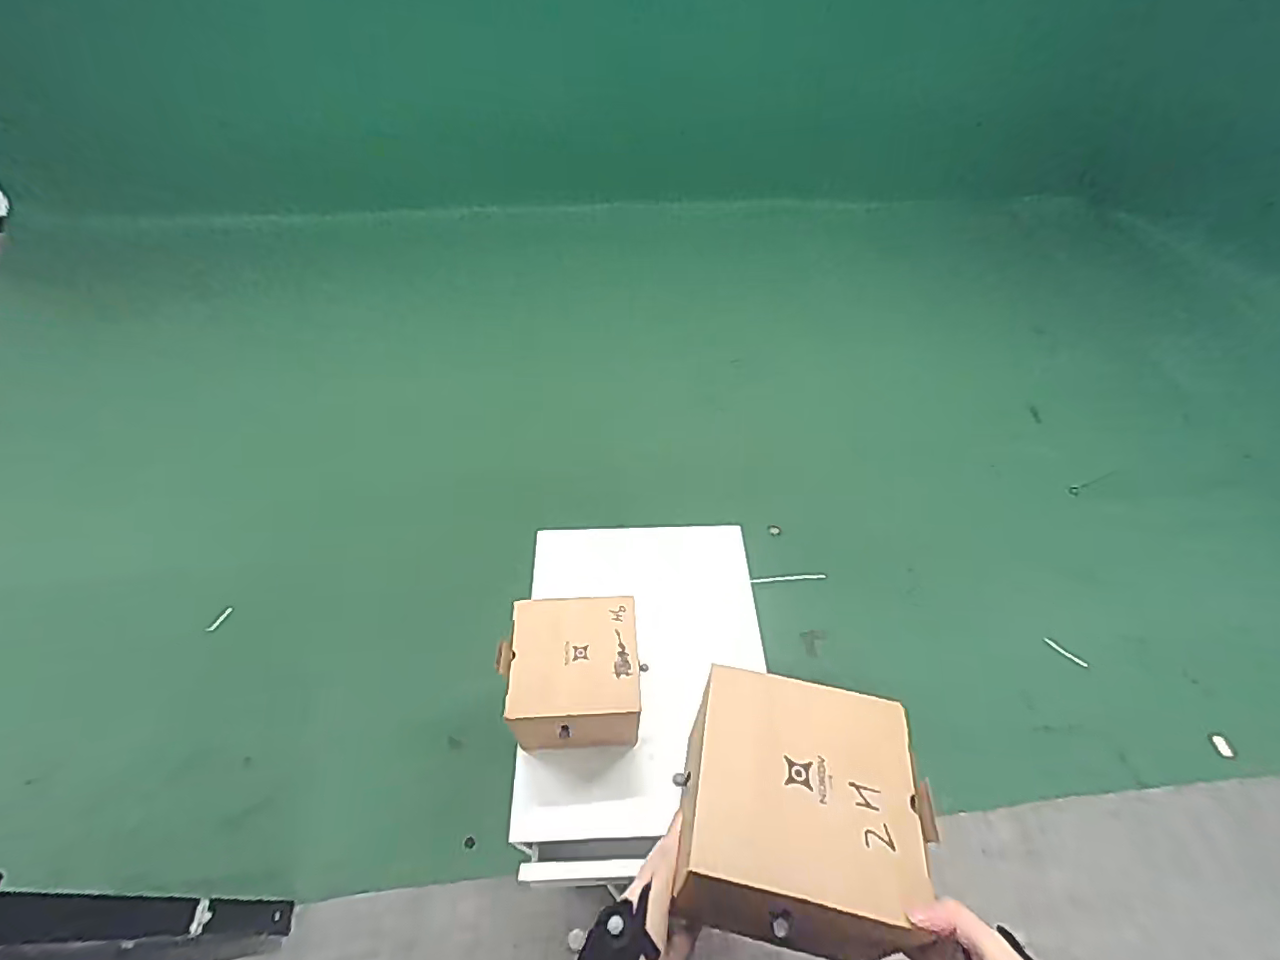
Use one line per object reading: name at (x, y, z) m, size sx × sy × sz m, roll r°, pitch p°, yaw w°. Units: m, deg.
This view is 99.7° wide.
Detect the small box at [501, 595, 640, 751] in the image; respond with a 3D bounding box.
small box at (-0.090, 0.282, 0.782) m, size 0.179 × 0.176 × 0.168 m, roll -2°, pitch 51°, yaw -3°

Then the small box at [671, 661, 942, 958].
small box at (0.128, 0.290, 0.478) m, size 0.179 × 0.176 × 0.168 m, roll 11°, pitch 44°, yaw 6°
